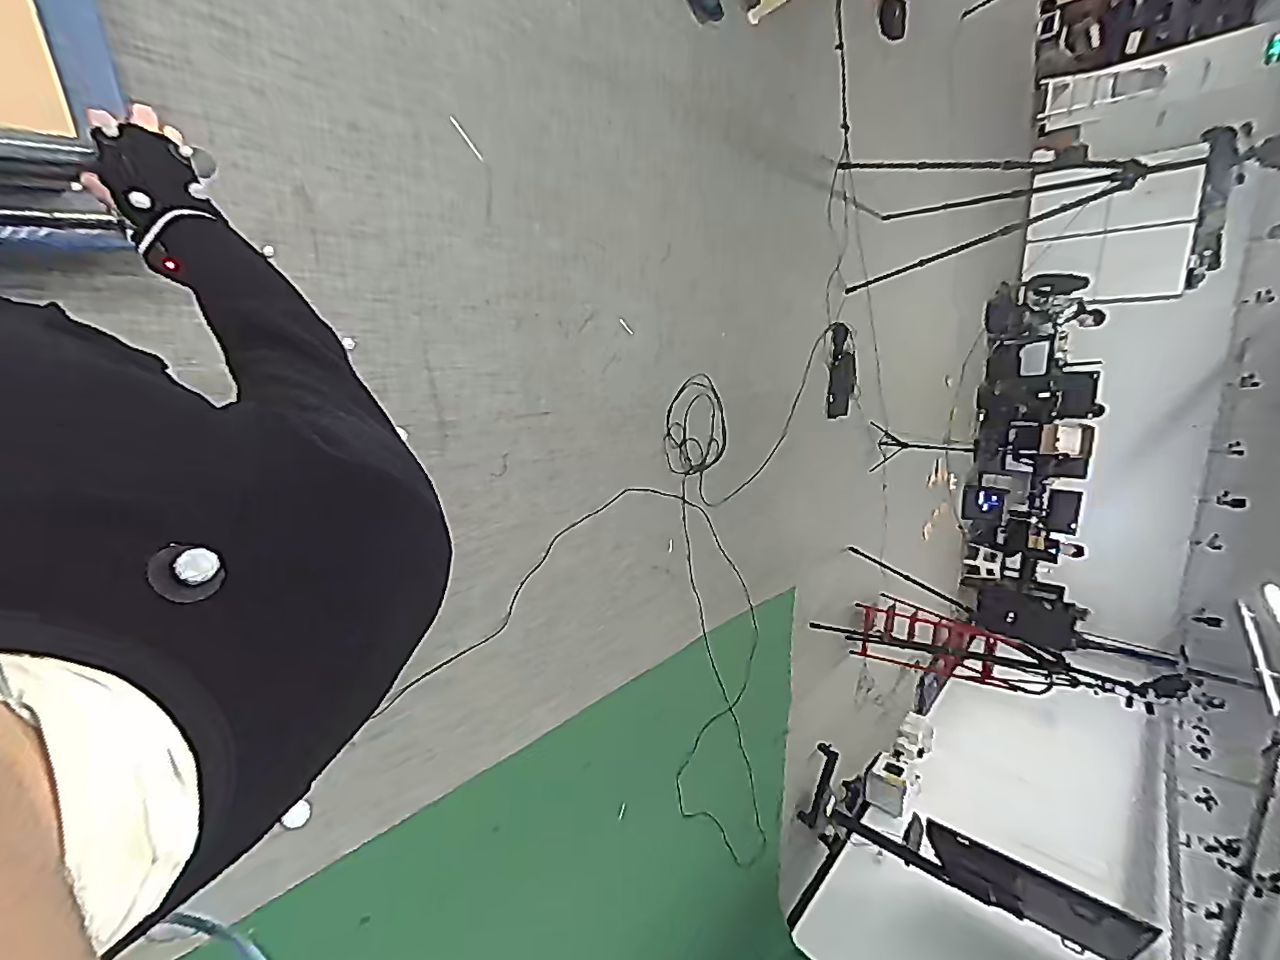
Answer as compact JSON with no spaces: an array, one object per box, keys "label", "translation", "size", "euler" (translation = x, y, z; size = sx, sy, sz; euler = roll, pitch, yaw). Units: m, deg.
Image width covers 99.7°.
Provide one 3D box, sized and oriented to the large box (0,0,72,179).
[{"label":"large box","translation":[-1.062,-0.672,0.732],"size":[0.320,0.320,0.408],"euler":[-22,113,-43]}]
